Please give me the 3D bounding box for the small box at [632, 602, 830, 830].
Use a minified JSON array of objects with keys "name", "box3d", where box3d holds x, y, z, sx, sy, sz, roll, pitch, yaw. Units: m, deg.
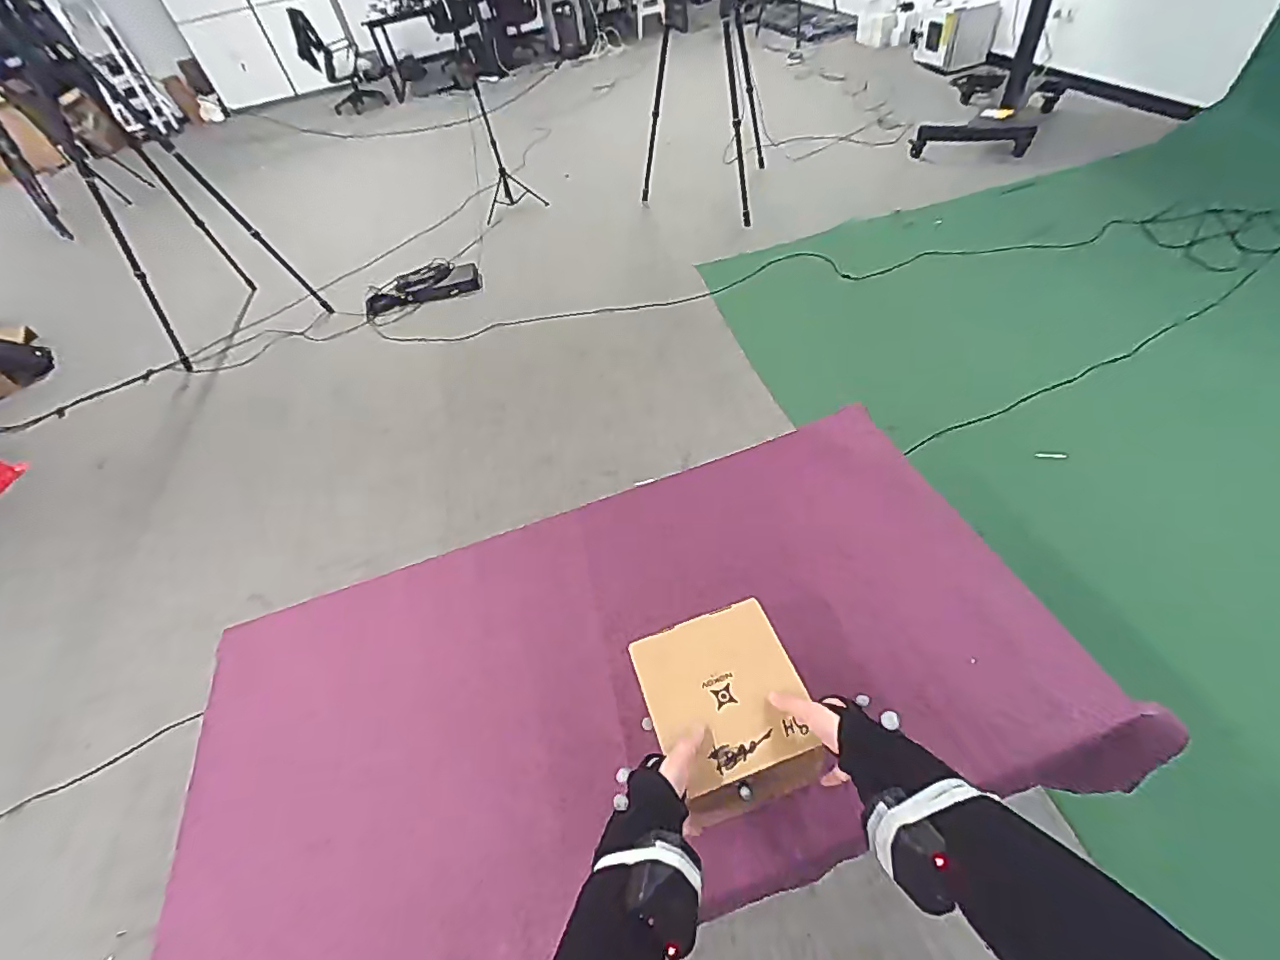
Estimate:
[{"name":"small box","box3d":[0.102,0.282,0.645,0.168,0.176,0.179,-20,48,-4]}]
